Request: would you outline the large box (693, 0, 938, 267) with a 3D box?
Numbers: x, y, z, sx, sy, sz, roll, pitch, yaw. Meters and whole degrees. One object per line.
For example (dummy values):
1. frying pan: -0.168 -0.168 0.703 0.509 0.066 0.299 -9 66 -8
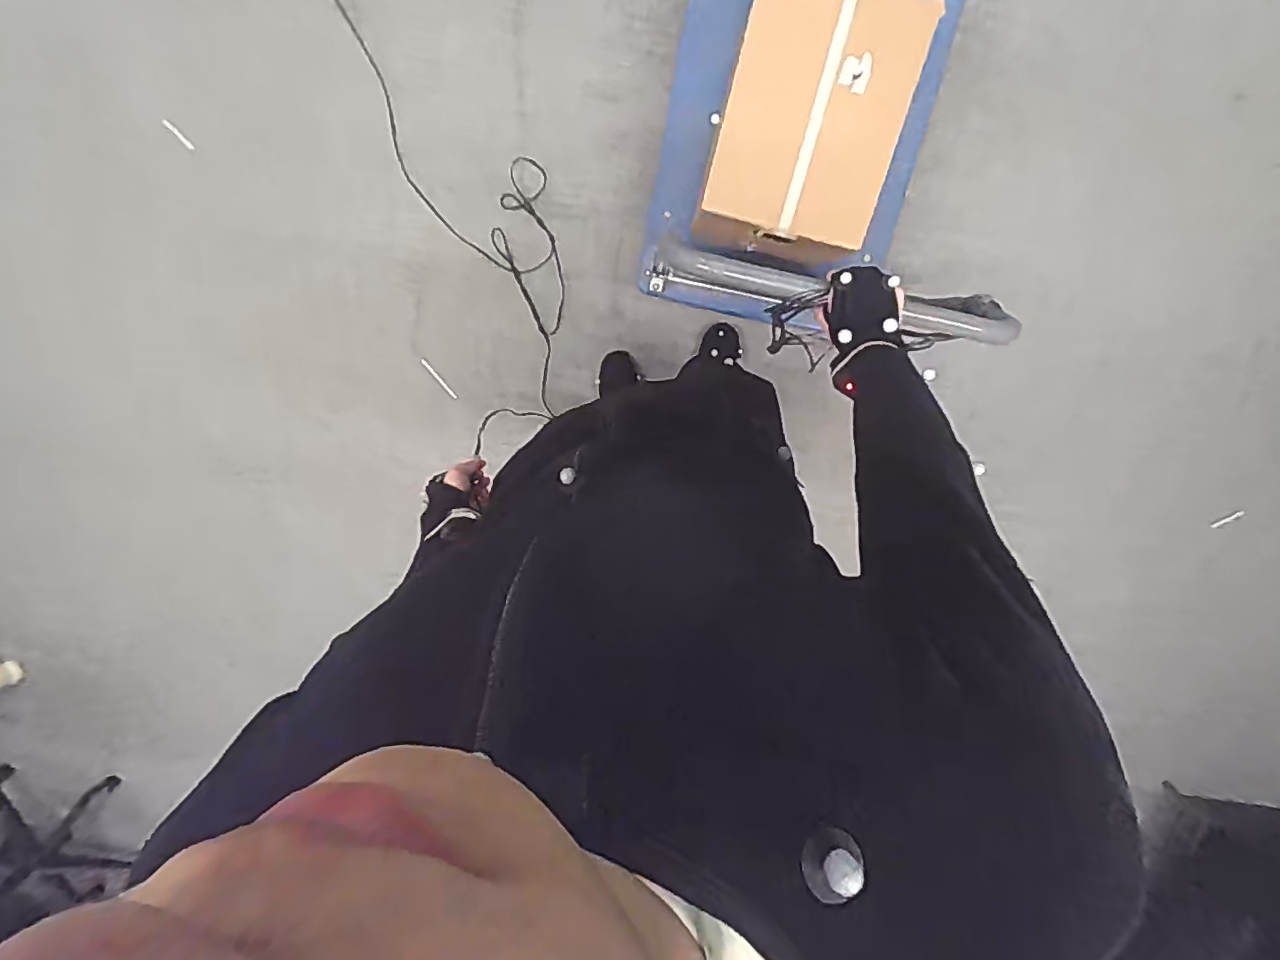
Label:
1. large box: 0.308 -0.683 1.088 0.320 0.320 0.408 14 106 -4
